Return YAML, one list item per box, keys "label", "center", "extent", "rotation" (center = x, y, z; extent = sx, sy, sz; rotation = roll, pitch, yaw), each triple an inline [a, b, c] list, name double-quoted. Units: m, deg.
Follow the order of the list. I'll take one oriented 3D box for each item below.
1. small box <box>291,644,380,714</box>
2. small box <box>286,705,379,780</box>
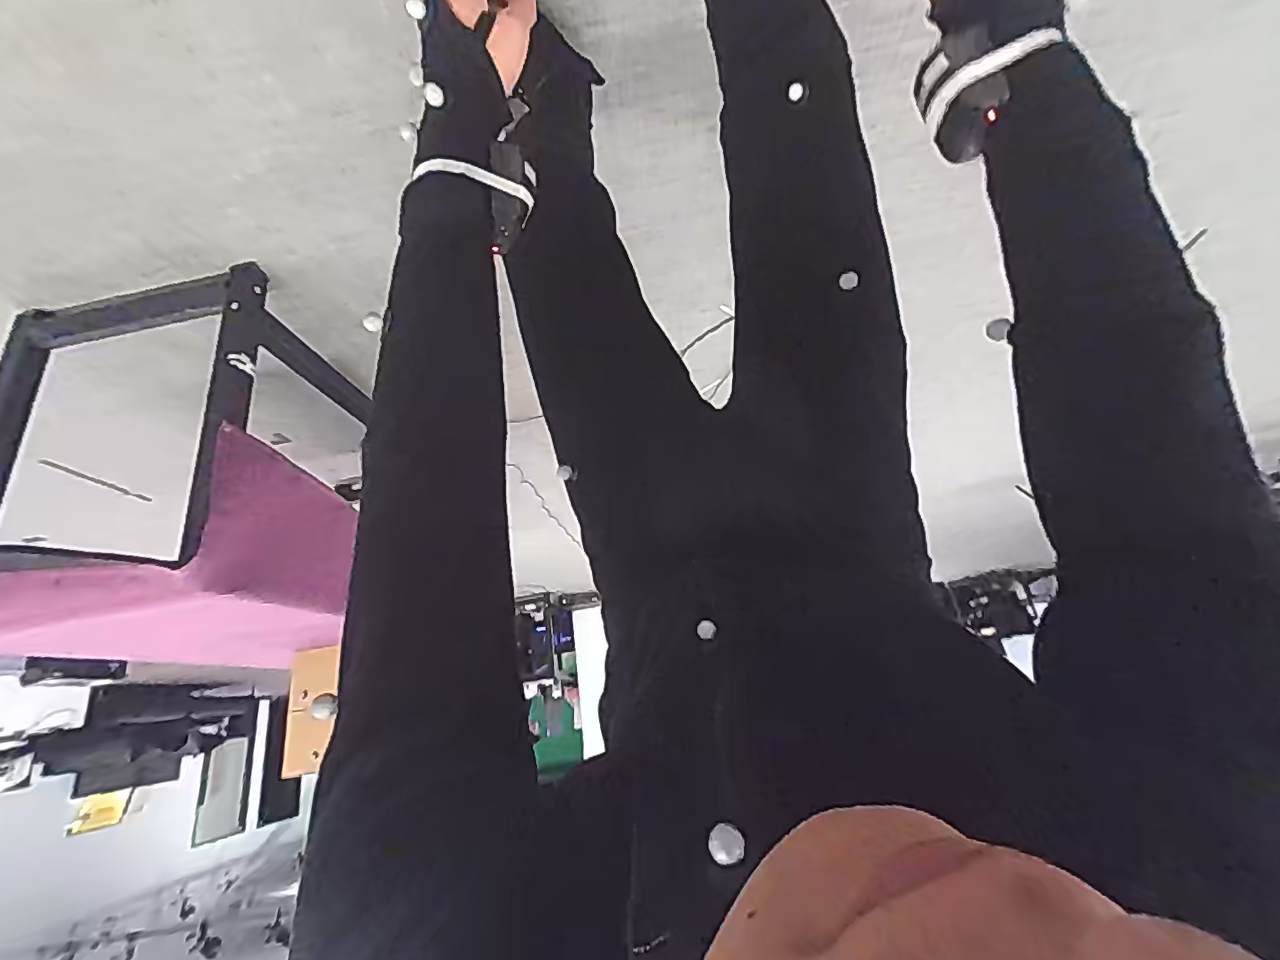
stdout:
- label: "small box"
  center: [-0.905, 0.599, 1.623]
  extent: [0.179, 0.176, 0.168]
  rotation: [-11, 158, 3]
- label: "small box"
  center: [-0.881, 0.750, 1.563]
  extent: [0.179, 0.176, 0.168]
  rotation: [-11, 157, 8]
